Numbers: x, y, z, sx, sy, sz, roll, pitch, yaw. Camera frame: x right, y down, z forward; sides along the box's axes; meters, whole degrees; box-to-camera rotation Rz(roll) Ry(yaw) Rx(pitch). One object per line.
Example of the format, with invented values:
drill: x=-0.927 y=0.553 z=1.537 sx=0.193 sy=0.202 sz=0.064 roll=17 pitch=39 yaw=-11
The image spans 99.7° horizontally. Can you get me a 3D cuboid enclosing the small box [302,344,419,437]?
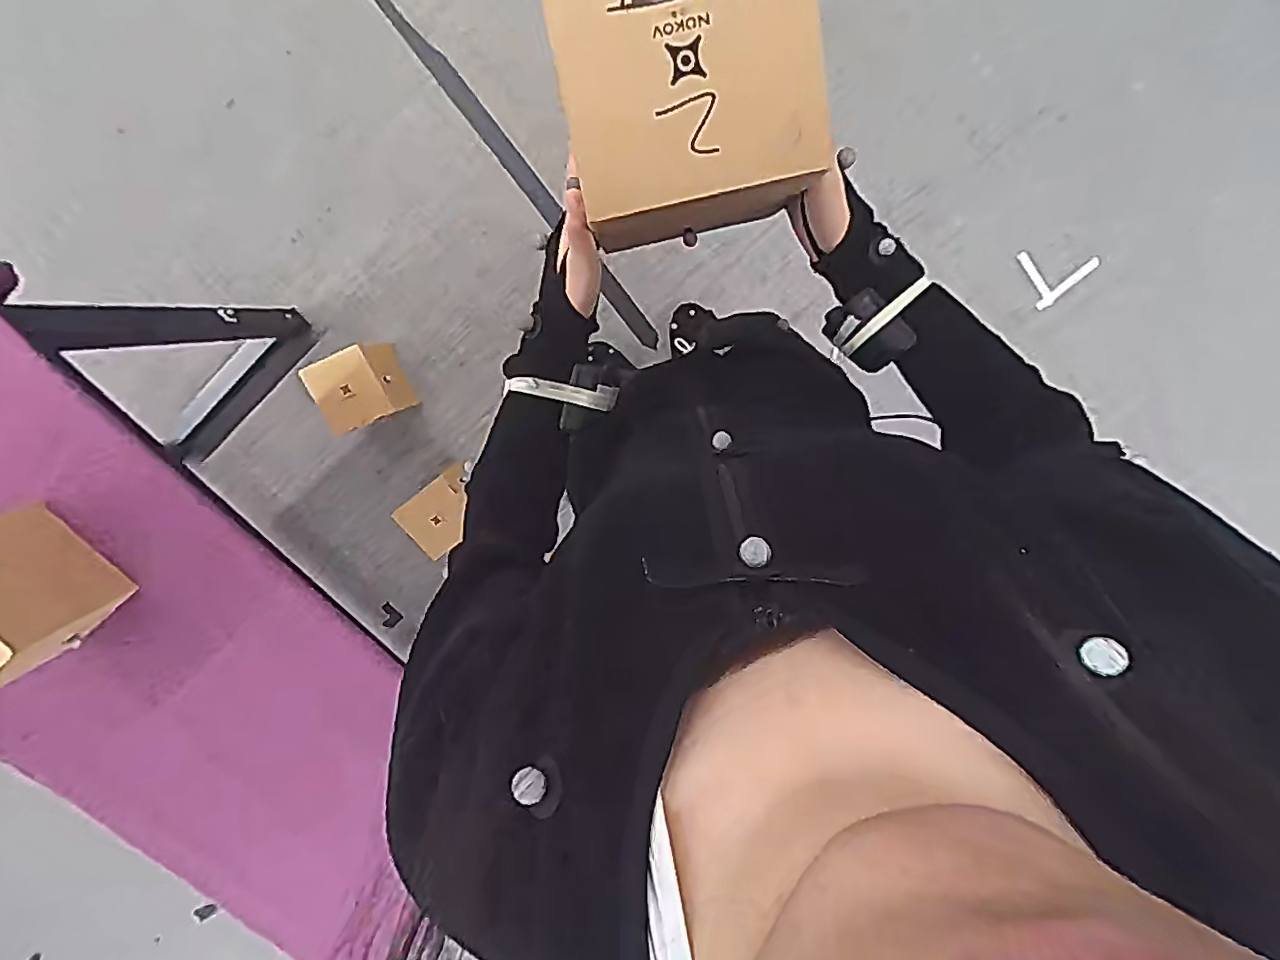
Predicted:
small box: x=-0.695 y=-0.232 z=1.365 sx=0.168 sy=0.176 sz=0.179 roll=-22 pitch=106 yaw=6

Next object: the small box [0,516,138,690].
small box: x=-0.854 y=0.168 z=0.721 sx=0.168 sy=0.176 sz=0.179 roll=-37 pitch=104 yaw=11

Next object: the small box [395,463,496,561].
small box: x=-0.511 y=0.079 z=1.460 sx=0.179 sy=0.176 sz=0.168 roll=-37 pitch=103 yaw=11
